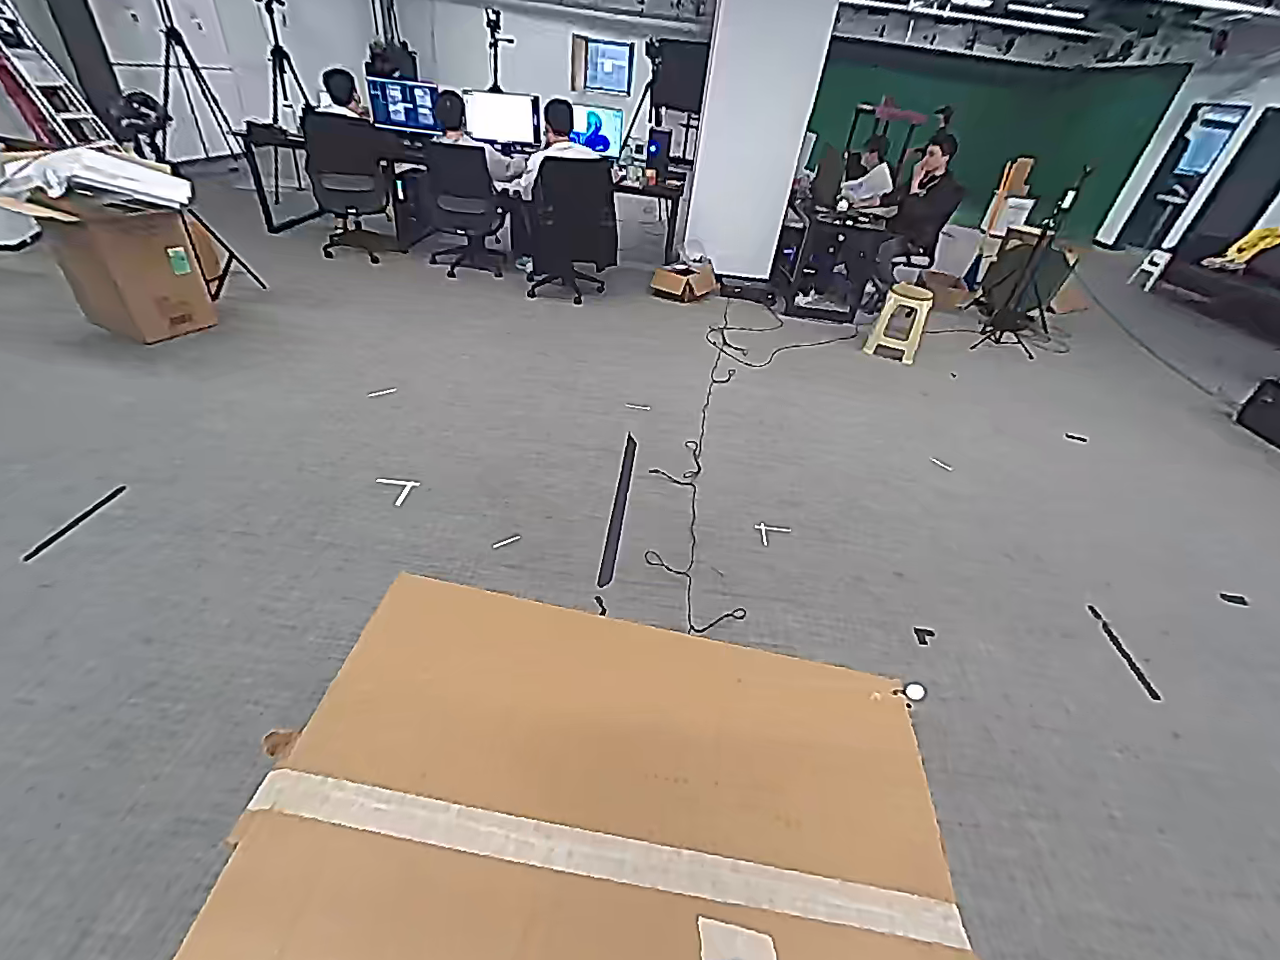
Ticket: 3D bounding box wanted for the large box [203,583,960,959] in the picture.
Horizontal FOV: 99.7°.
[{"bbox_3d":[-0.036,0.329,0.418,0.408,0.320,0.320,14,43,-2],"label":"large box"}]
